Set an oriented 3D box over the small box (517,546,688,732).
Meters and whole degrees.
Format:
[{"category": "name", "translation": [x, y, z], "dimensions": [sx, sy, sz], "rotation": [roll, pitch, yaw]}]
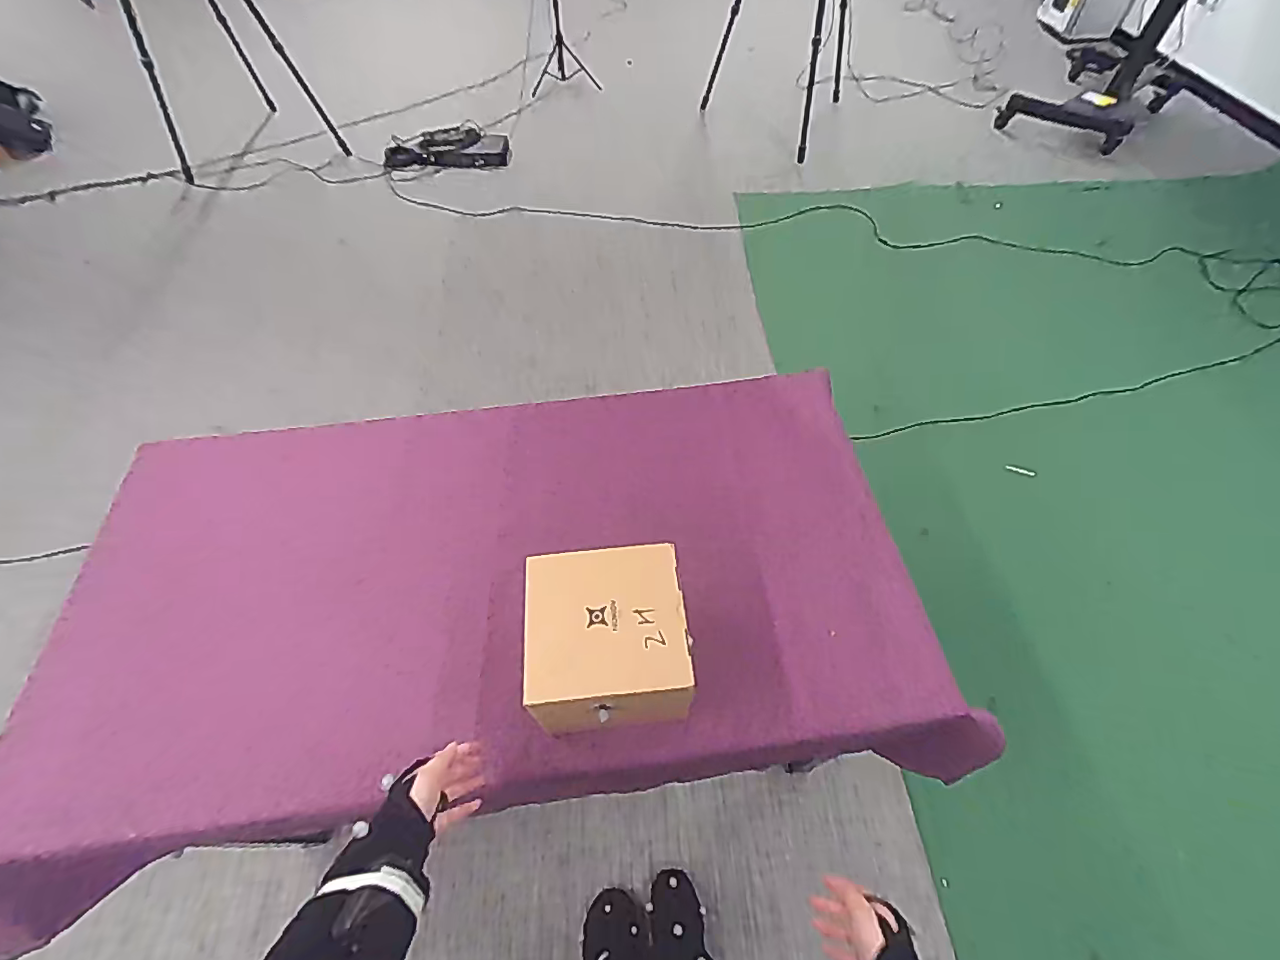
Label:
[{"category": "small box", "translation": [-0.041, 0.197, 0.652], "dimensions": [0.179, 0.176, 0.168], "rotation": [-5, 56, -2]}]
